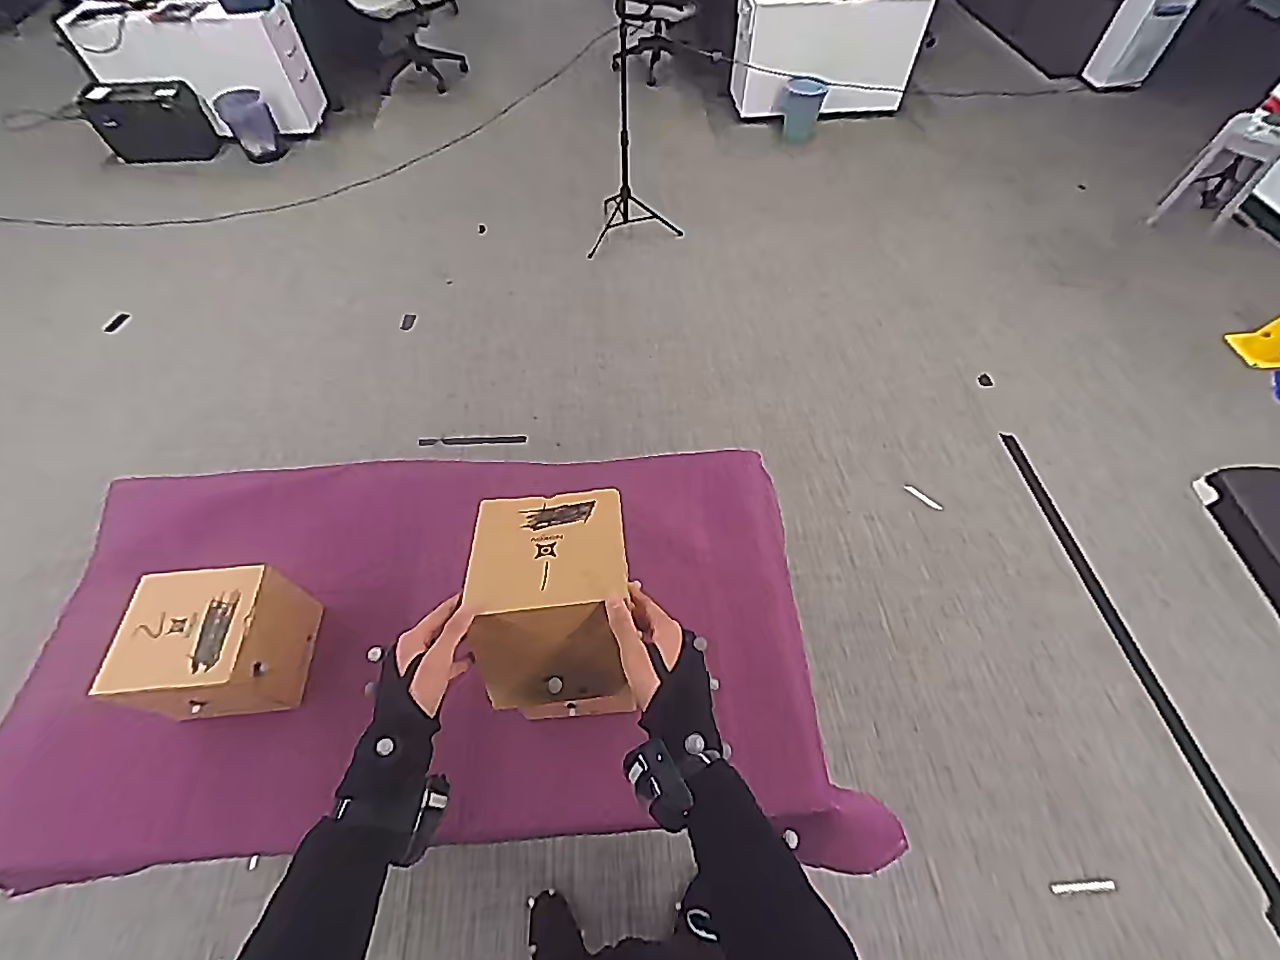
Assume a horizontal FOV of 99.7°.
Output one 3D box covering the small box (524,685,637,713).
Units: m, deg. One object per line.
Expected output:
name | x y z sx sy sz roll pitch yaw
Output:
small box | -0.091 0.239 0.798 0.168 0.176 0.179 -3 56 -2

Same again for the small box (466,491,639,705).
small box | -0.091 0.136 0.638 0.168 0.176 0.179 -5 39 -3
